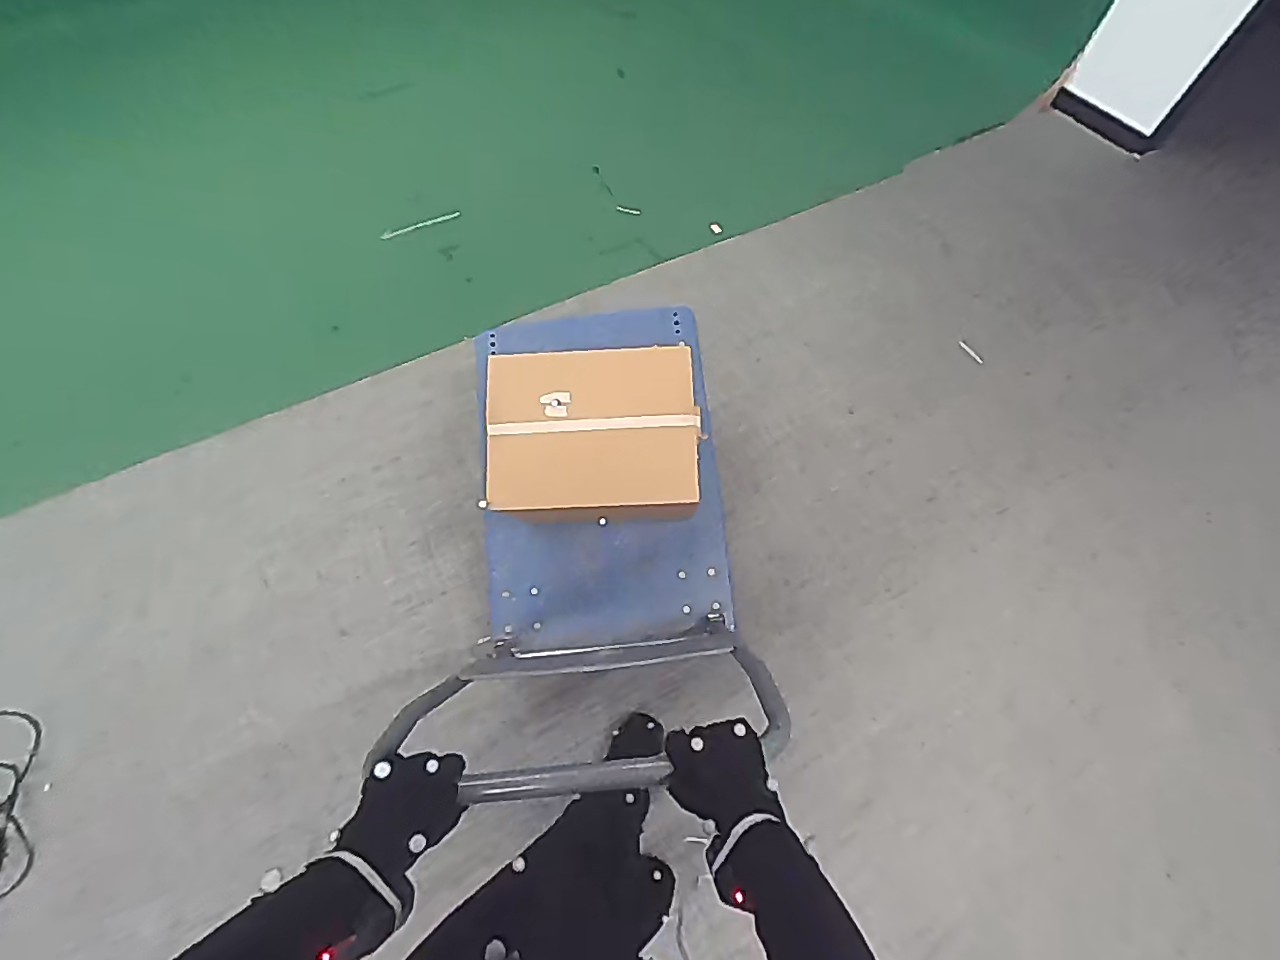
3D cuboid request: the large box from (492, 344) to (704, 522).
[{"bbox_3d":[-0.078,-0.080,1.184,0.408,0.320,0.320,-3,80,3],"label":"large box"}]
